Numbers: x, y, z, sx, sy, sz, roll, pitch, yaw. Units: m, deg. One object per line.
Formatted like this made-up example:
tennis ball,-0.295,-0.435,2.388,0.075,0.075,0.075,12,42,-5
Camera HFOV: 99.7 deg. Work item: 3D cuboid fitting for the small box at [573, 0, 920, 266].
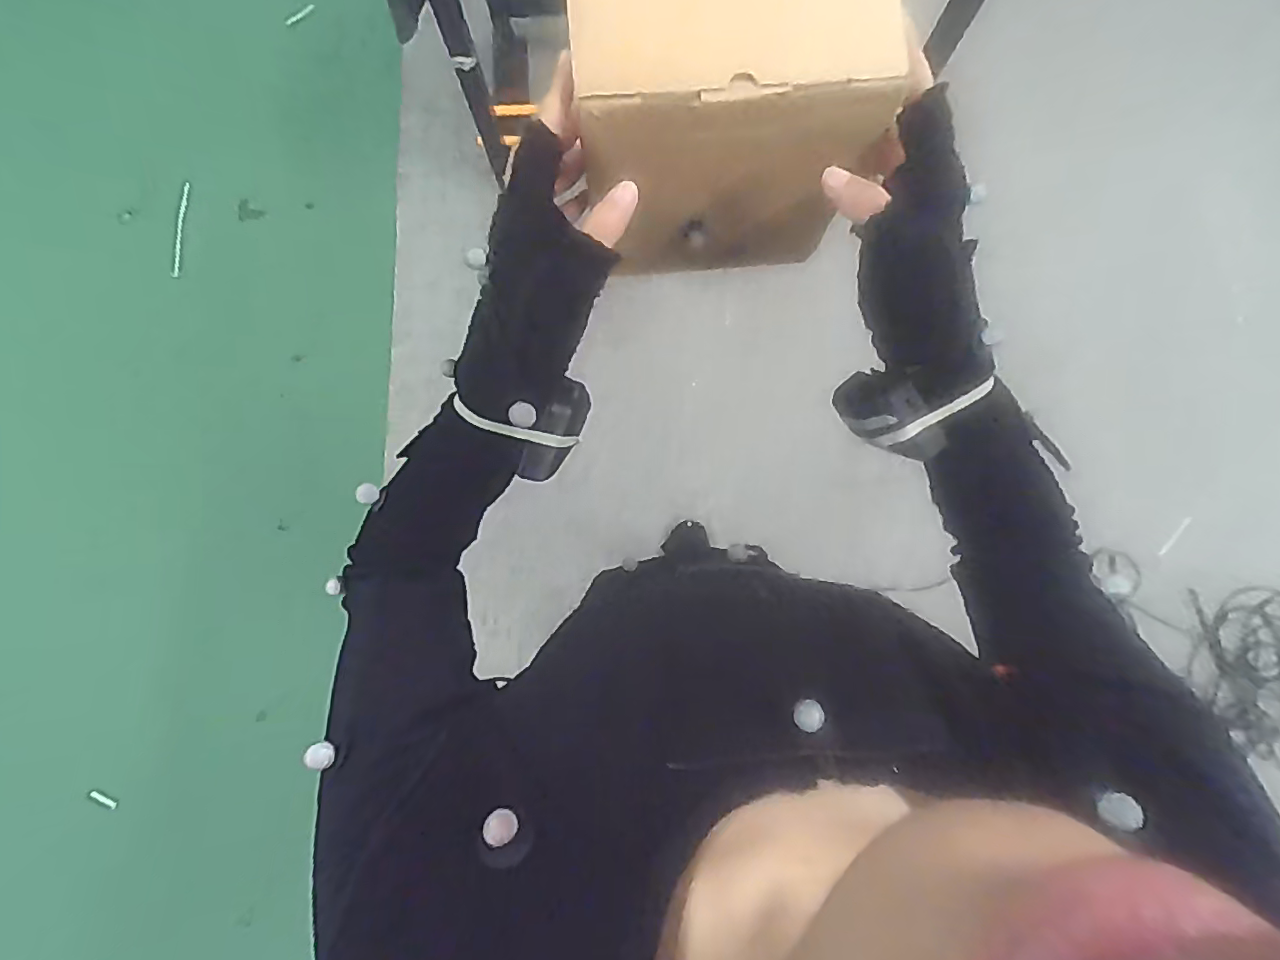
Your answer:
small box,0.045,-0.264,0.345,0.168,0.176,0.179,-5,83,-1
